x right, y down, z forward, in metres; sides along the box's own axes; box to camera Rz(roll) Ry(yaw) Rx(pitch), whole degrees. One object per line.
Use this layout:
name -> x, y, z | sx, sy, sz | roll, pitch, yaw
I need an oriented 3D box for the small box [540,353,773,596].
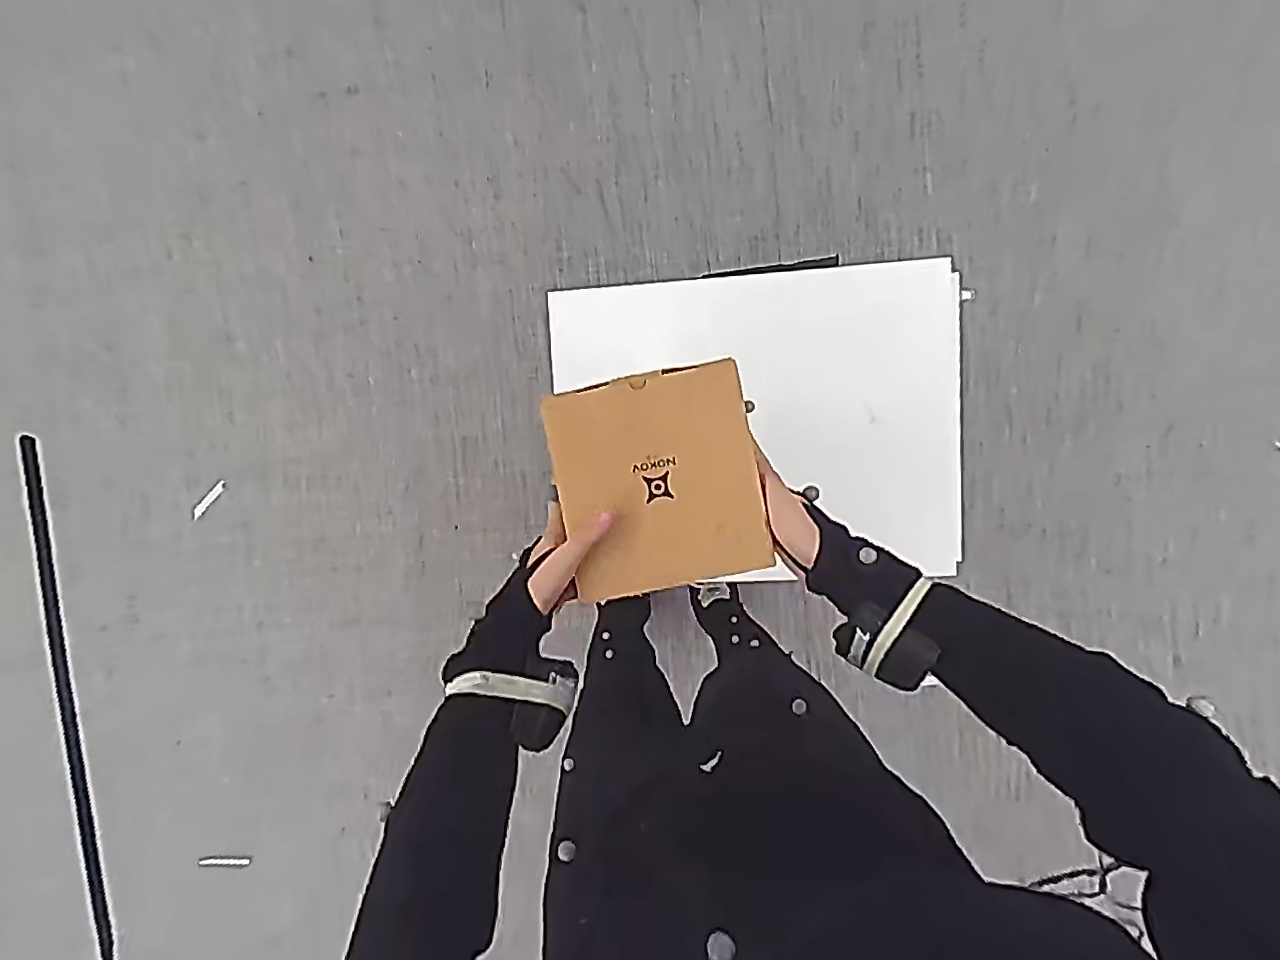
small box -> 0.015, -0.005, 0.517 | 0.168, 0.176, 0.179 | -11, 90, 0
